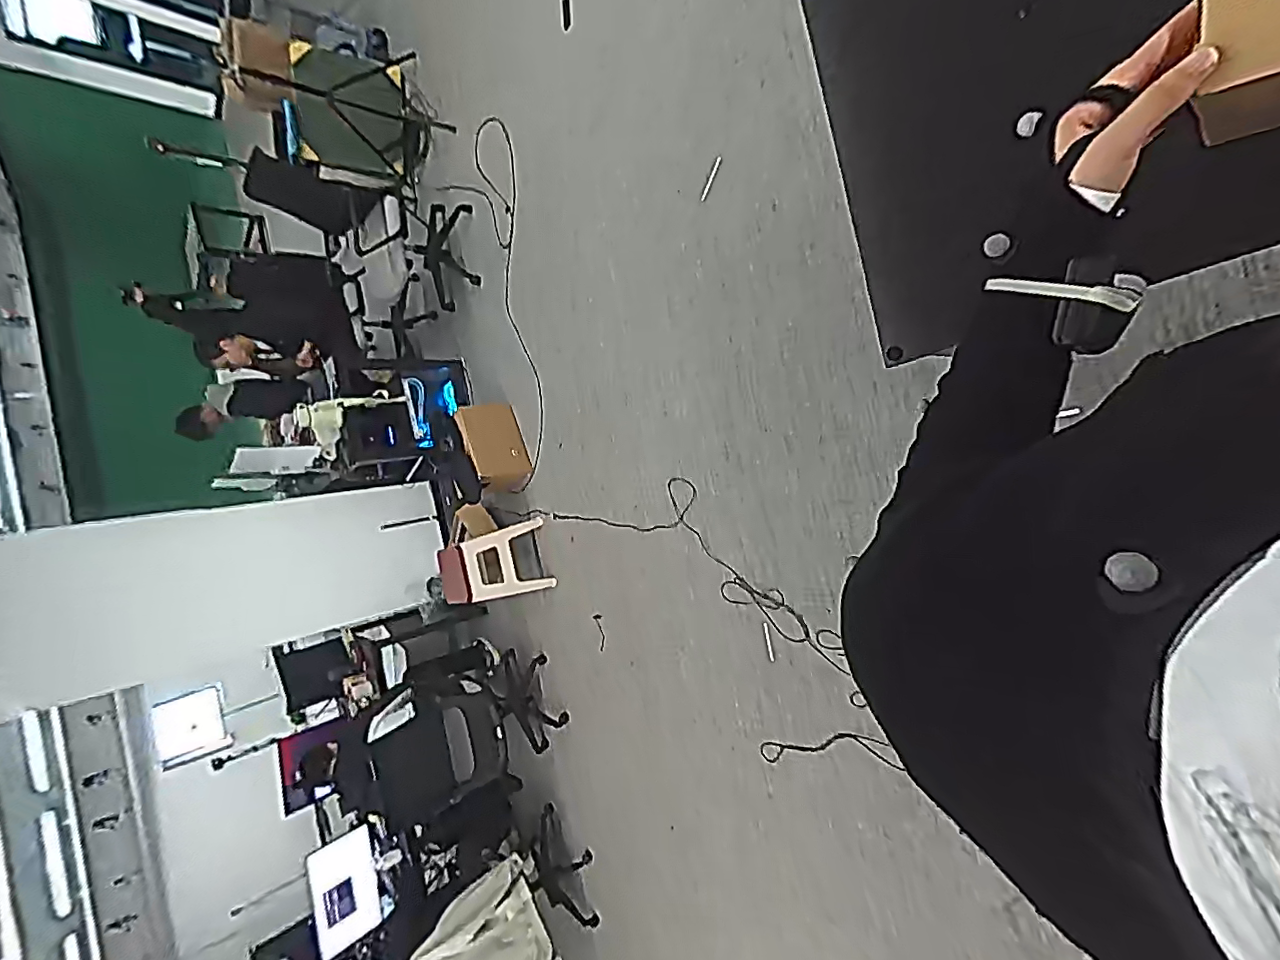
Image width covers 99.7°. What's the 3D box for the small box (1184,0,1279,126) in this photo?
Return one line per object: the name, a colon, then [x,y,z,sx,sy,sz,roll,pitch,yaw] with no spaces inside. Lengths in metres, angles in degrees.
small box: [0.437,-0.328,0.298,0.179,0.176,0.168,5,107,48]
